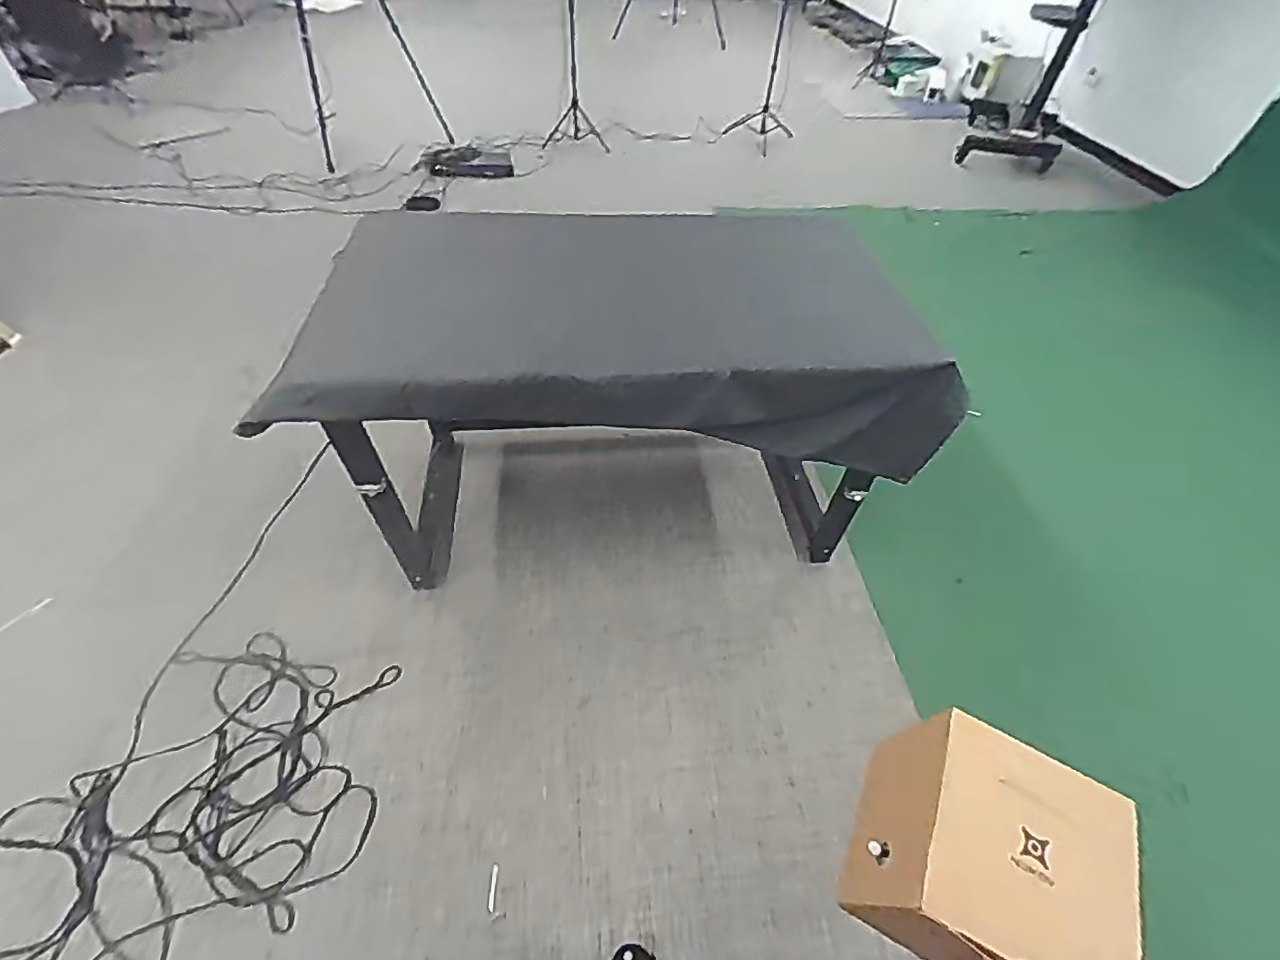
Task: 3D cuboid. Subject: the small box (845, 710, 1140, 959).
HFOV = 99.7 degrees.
[{"bbox_3d":[0.315,0.358,0.510,0.168,0.176,0.179,26,54,12],"label":"small box"}]
